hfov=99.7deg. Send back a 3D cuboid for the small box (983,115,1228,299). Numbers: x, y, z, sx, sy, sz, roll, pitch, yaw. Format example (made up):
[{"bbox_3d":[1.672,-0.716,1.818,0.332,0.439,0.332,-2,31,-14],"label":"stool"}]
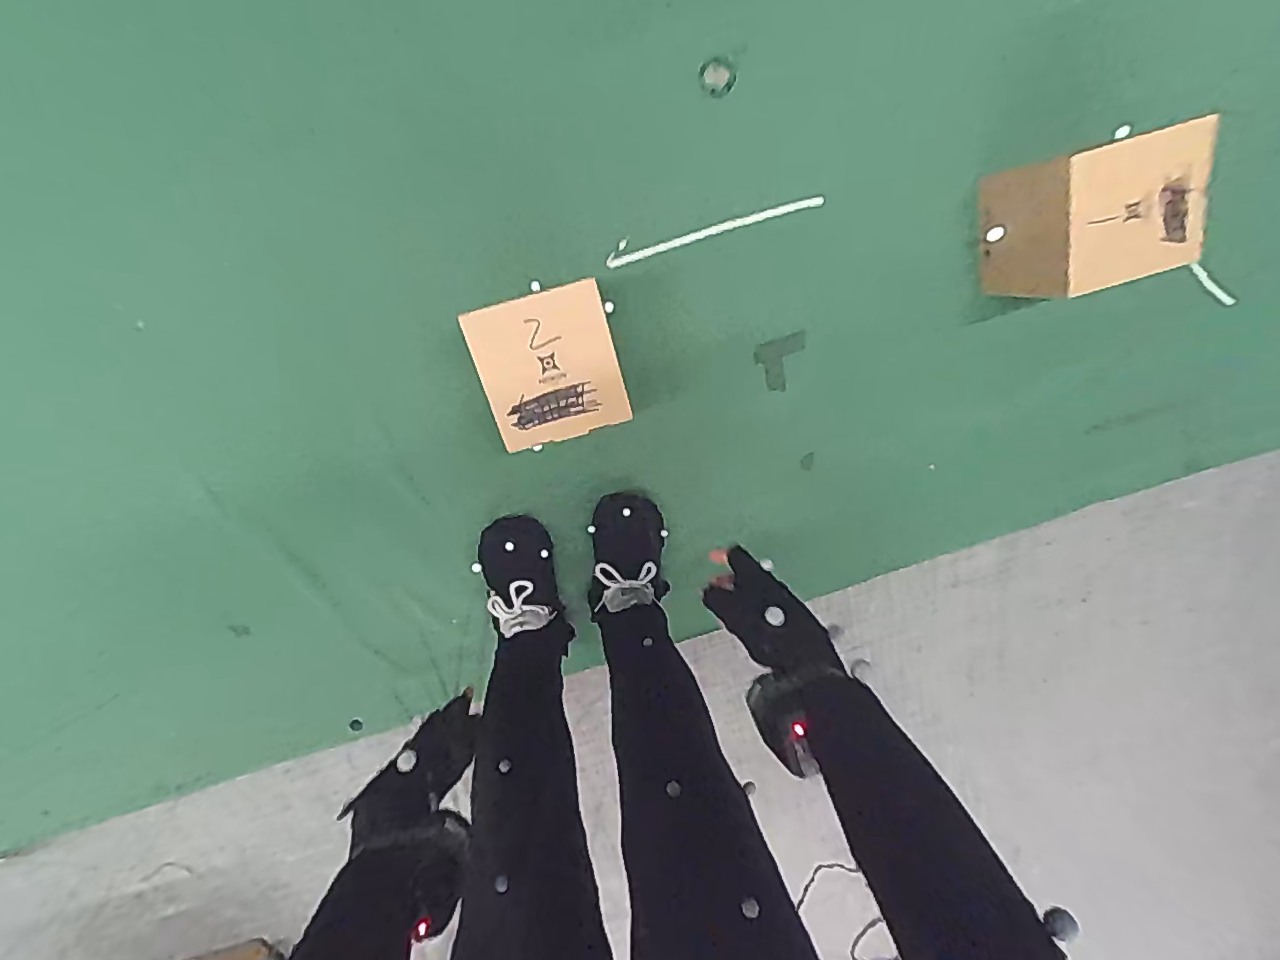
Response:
[{"bbox_3d":[0.593,-0.348,0.715,0.179,0.176,0.168,-16,111,1],"label":"small box"}]
